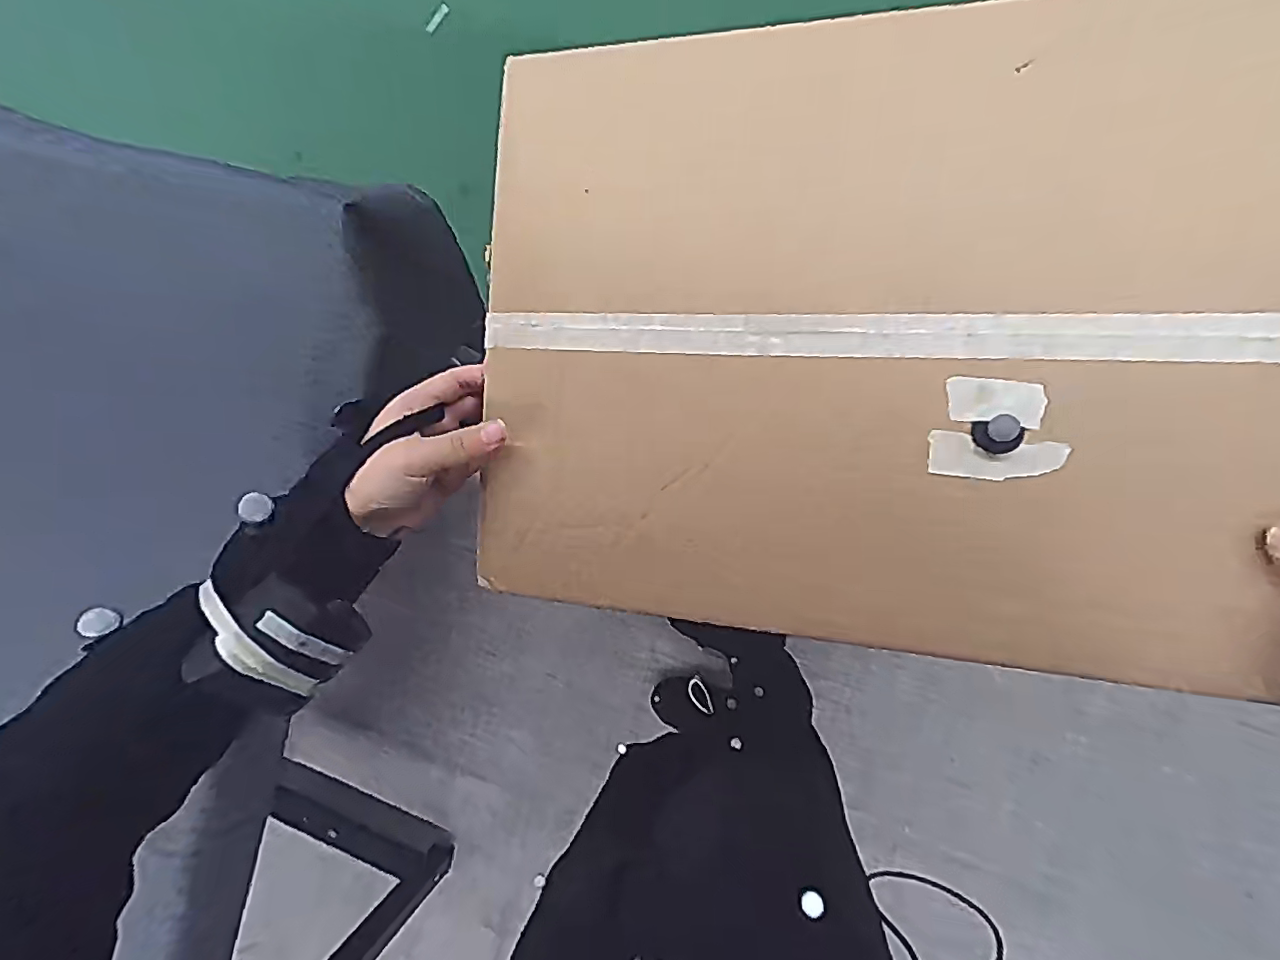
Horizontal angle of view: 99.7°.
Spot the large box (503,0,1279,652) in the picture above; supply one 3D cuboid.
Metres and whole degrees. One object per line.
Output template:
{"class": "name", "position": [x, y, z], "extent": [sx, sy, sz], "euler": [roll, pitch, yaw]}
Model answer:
{"class": "large box", "position": [0.145, -0.081, 0.439], "extent": [0.408, 0.320, 0.320], "euler": [4, 92, 13]}
